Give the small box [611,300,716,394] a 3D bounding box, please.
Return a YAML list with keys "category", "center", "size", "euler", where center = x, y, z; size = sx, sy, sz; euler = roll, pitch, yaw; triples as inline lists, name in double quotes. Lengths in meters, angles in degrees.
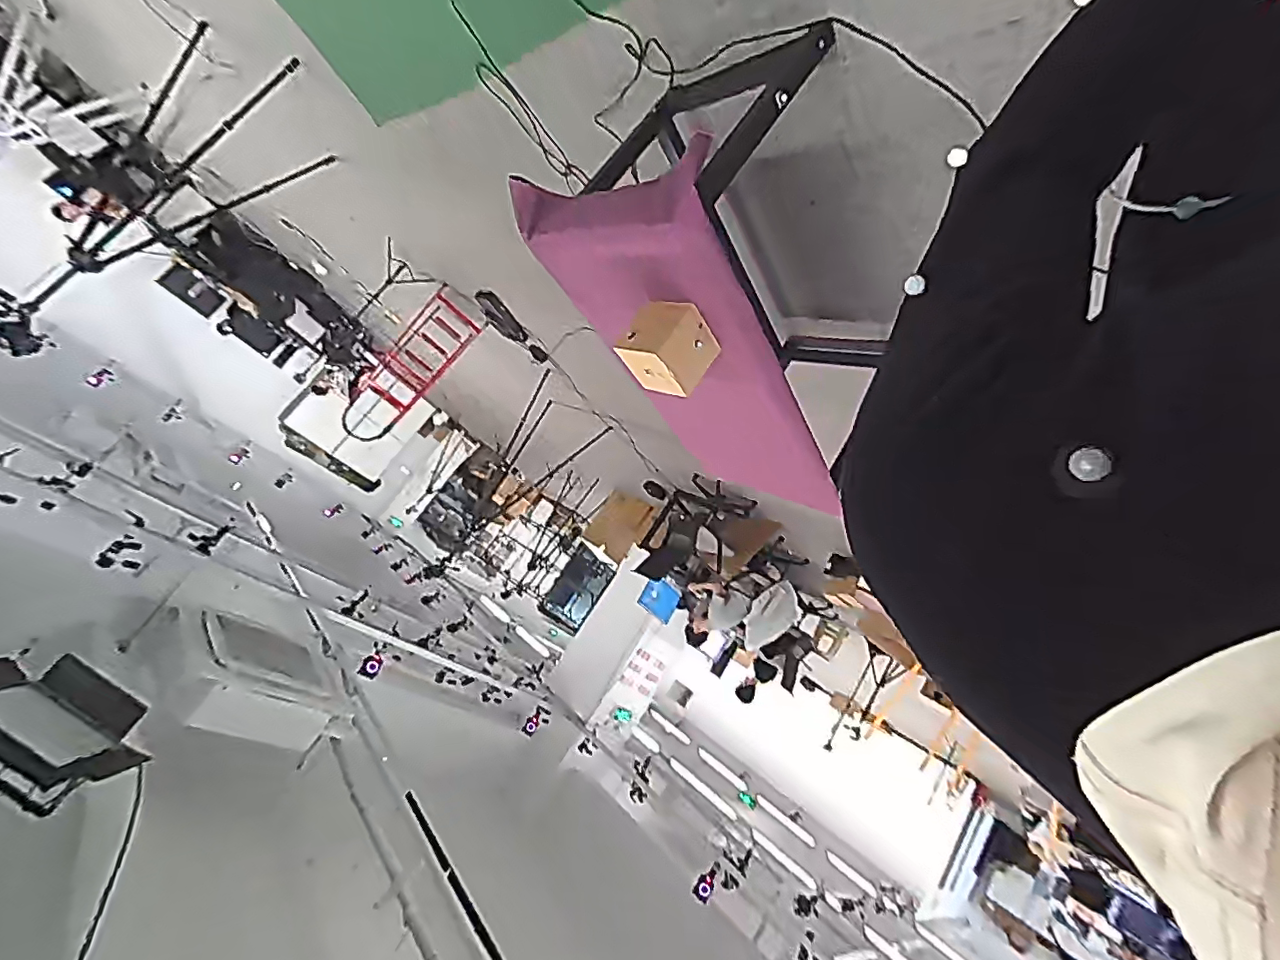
- category: "small box"
  center: [0.064, -0.351, 1.407]
  size: [0.179, 0.176, 0.168]
  euler: [22, 163, 45]
